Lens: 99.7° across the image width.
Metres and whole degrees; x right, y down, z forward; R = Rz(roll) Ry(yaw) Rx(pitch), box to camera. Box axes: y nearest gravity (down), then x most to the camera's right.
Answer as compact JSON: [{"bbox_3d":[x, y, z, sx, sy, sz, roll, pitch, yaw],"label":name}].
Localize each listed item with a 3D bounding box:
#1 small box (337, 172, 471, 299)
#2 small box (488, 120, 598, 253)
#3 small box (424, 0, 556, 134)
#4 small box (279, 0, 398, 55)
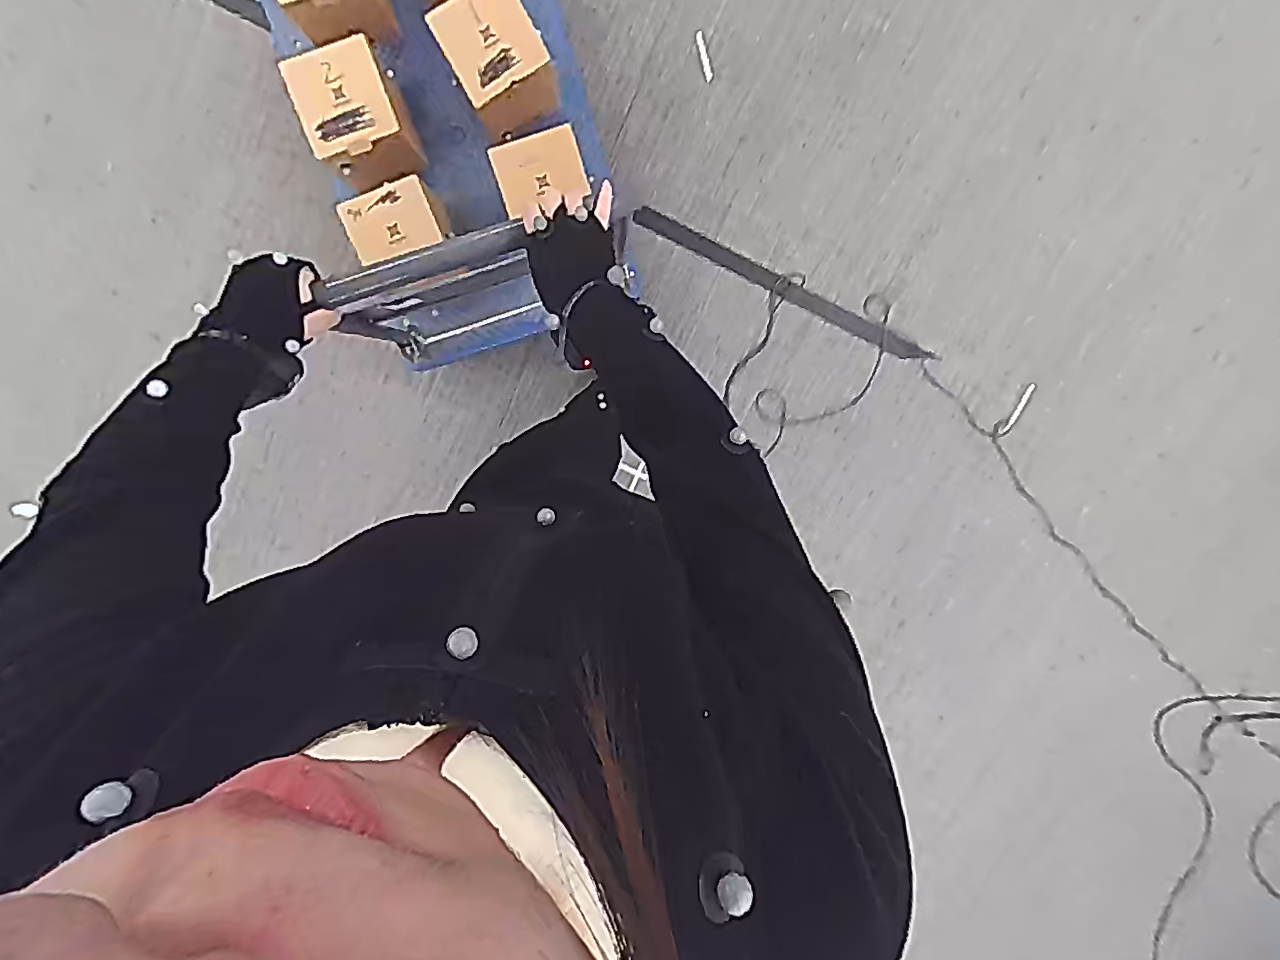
[{"bbox_3d":[-0.467,-0.483,1.104,0.168,0.176,0.179,-22,100,0],"label":"small box"},{"bbox_3d":[-0.187,-0.582,1.103,0.168,0.176,0.179,-18,100,0],"label":"small box"},{"bbox_3d":[-0.280,-0.818,1.056,0.168,0.176,0.179,-30,99,3],"label":"small box"},{"bbox_3d":[-0.589,-0.959,1.016,0.168,0.176,0.179,-17,101,1],"label":"small box"}]
